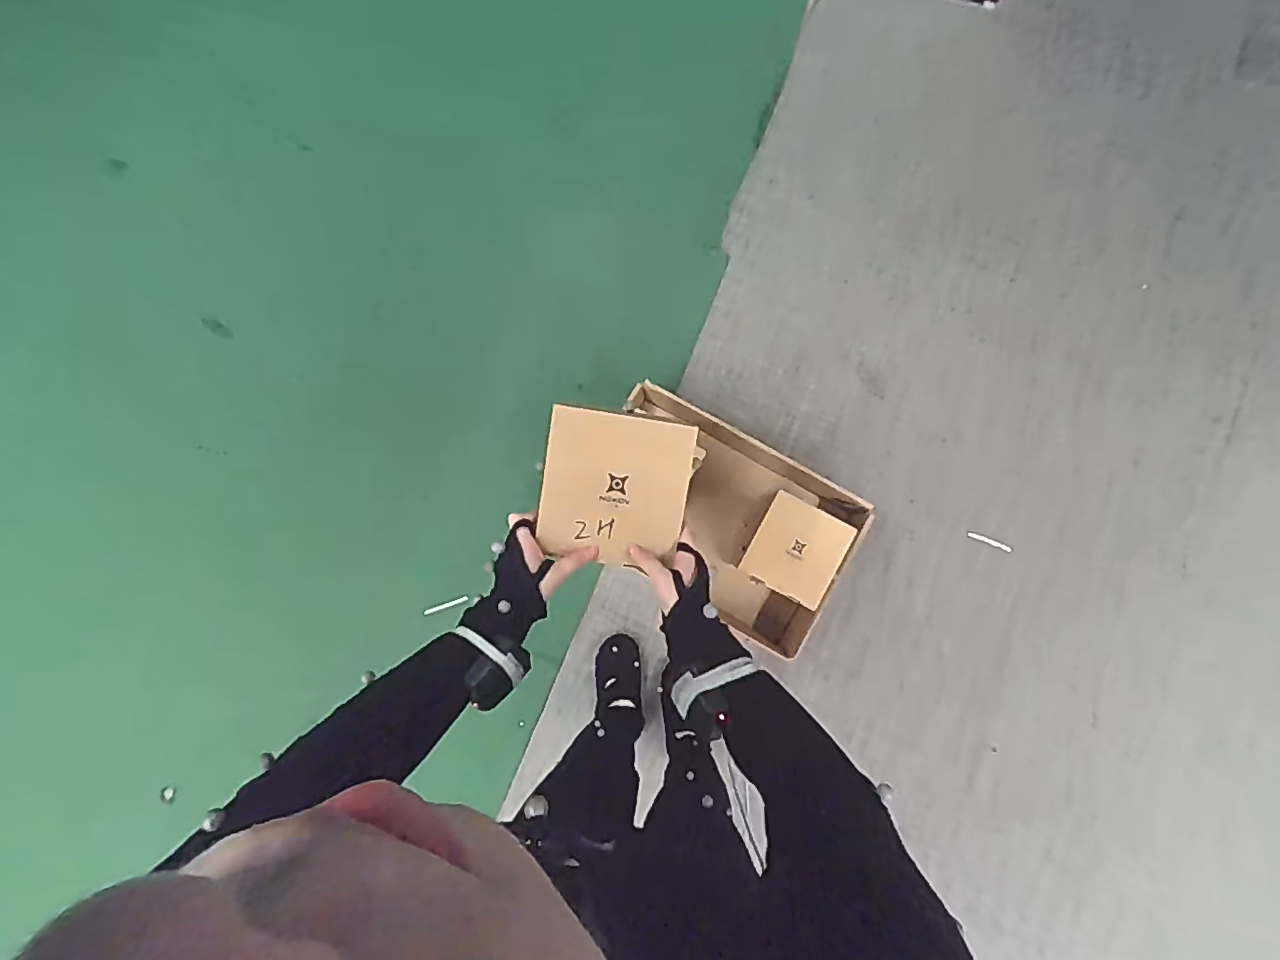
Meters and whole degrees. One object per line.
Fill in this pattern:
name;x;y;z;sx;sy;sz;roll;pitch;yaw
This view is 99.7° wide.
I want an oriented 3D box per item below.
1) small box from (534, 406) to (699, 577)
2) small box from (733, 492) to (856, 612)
small box;-0.034;0.004;0.684;0.168;0.176;0.179;9;99;-6
small box;0.300;0.141;1.098;0.168;0.176;0.179;29;88;6
